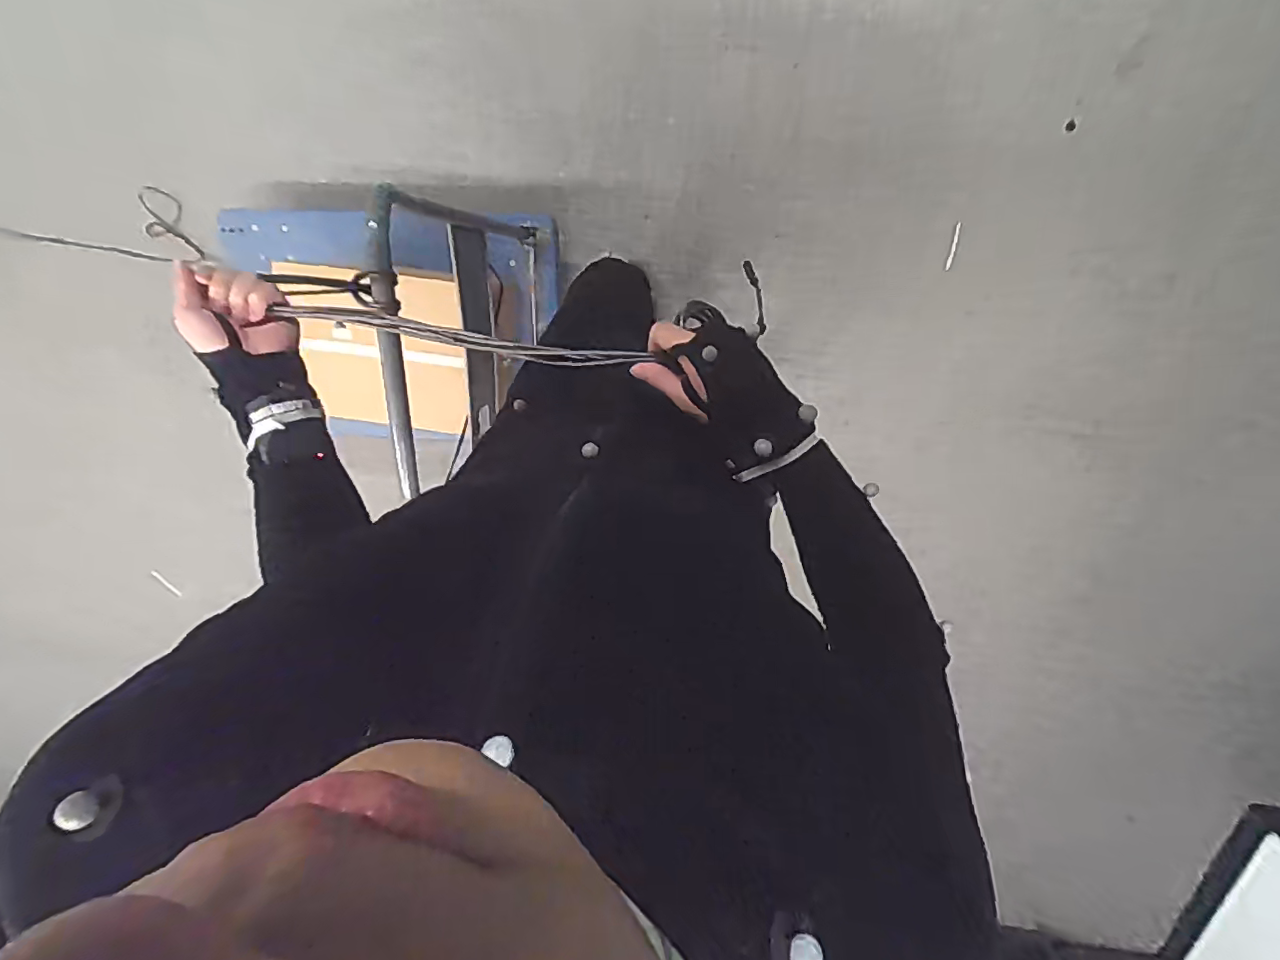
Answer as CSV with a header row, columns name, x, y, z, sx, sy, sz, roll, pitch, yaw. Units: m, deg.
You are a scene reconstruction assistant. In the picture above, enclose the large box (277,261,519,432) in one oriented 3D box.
name,x,y,z,sx,sy,sz,roll,pitch,yaw
large box,-0.518,-0.321,1.243,0.408,0.320,0.320,8,111,4
